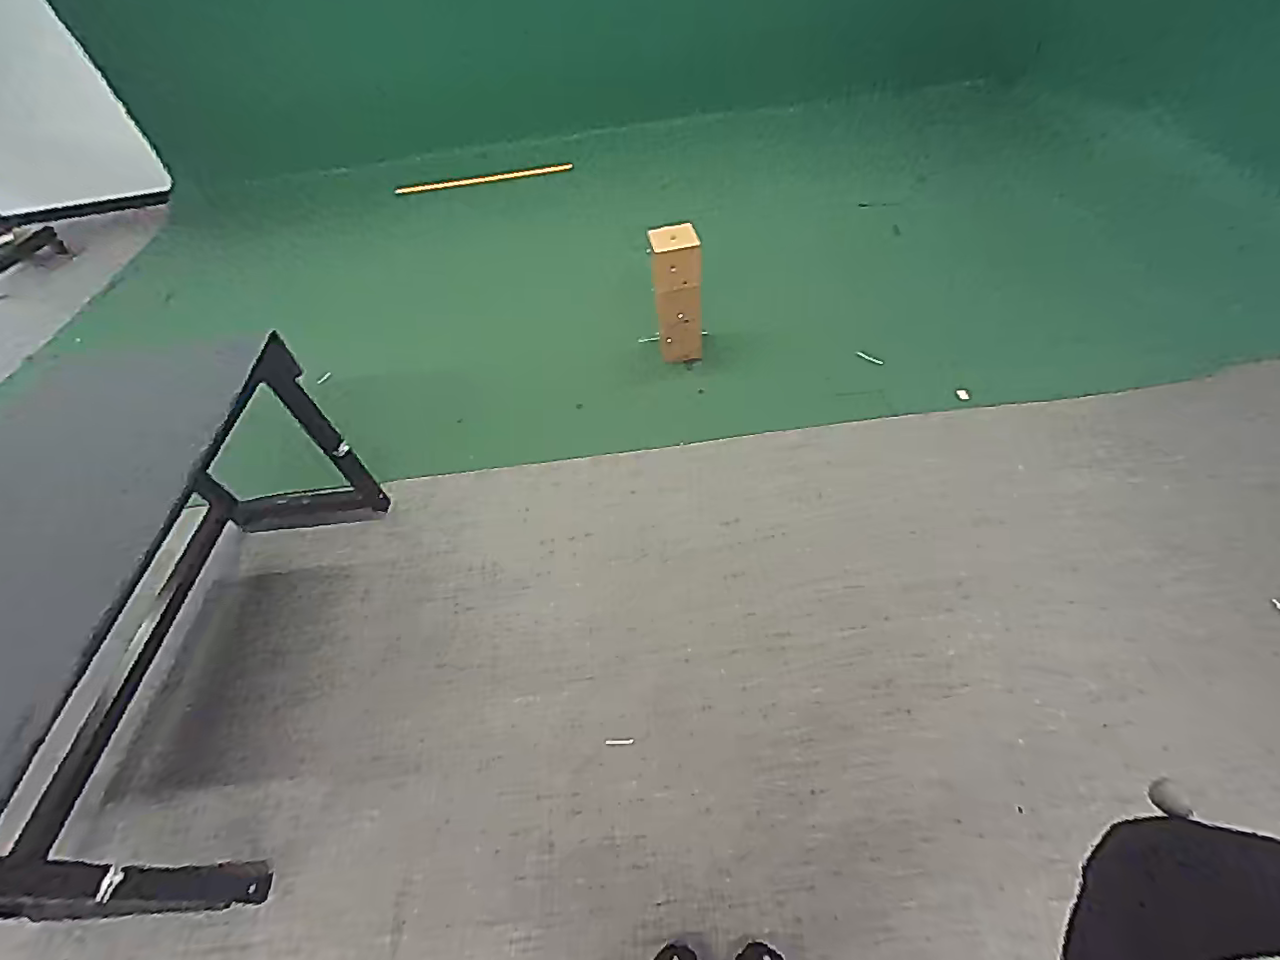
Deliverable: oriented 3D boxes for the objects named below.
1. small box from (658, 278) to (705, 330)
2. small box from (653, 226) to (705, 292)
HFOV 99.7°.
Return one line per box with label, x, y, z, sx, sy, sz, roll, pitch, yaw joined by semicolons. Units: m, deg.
small box;0.166;-0.732;2.178;0.168;0.176;0.179;-9;50;1
small box;0.150;-0.832;2.052;0.168;0.176;0.179;-11;49;-1
